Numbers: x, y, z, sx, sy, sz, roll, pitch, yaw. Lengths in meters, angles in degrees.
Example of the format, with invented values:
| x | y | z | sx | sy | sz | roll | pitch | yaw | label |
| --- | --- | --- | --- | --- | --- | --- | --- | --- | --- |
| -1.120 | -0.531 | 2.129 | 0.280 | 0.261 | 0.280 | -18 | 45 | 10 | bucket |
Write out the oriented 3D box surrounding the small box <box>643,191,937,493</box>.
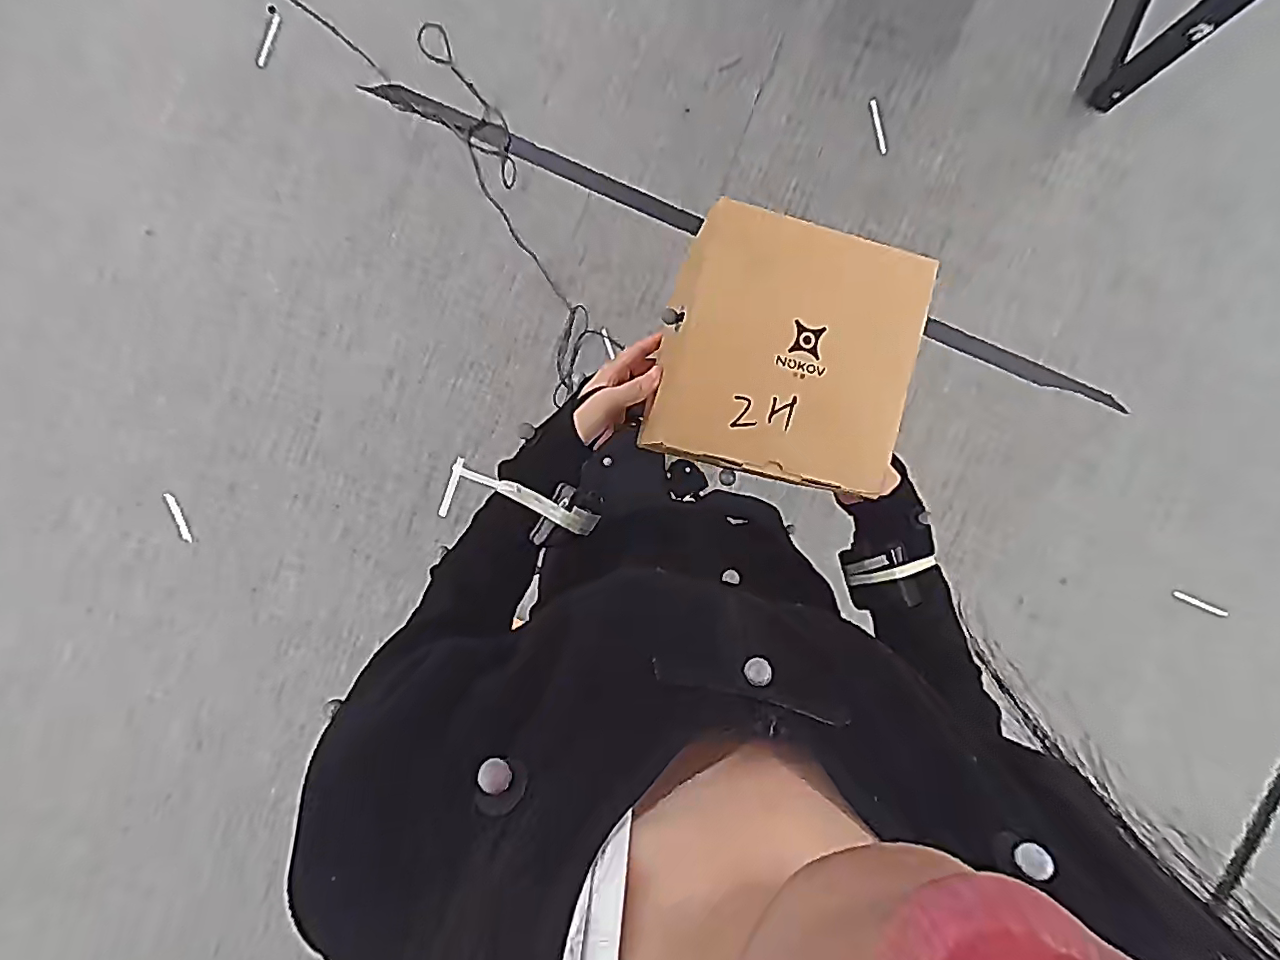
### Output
| x | y | z | sx | sy | sz | roll | pitch | yaw | label |
| --- | --- | --- | --- | --- | --- | --- | --- | --- | --- |
| 0.104 | -0.098 | 0.453 | 0.168 | 0.176 | 0.179 | 13 | 93 | -6 | small box |
